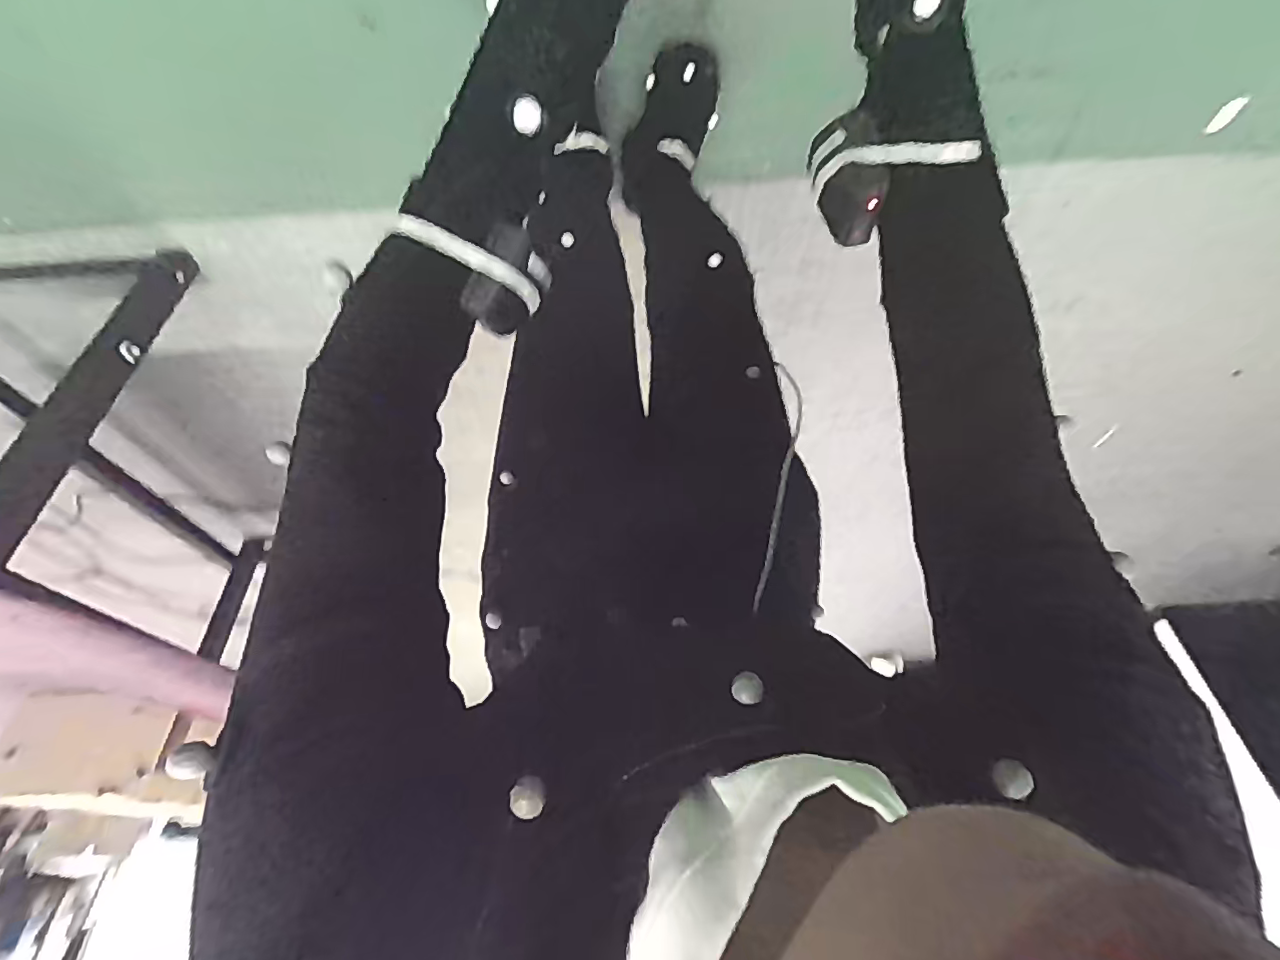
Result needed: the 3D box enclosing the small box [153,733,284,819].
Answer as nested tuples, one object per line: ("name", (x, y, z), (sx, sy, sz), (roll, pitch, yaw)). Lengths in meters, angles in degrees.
("small box", (-1.050, 0.750, 1.367), (0.179, 0.176, 0.168), (-3, 145, -1))
